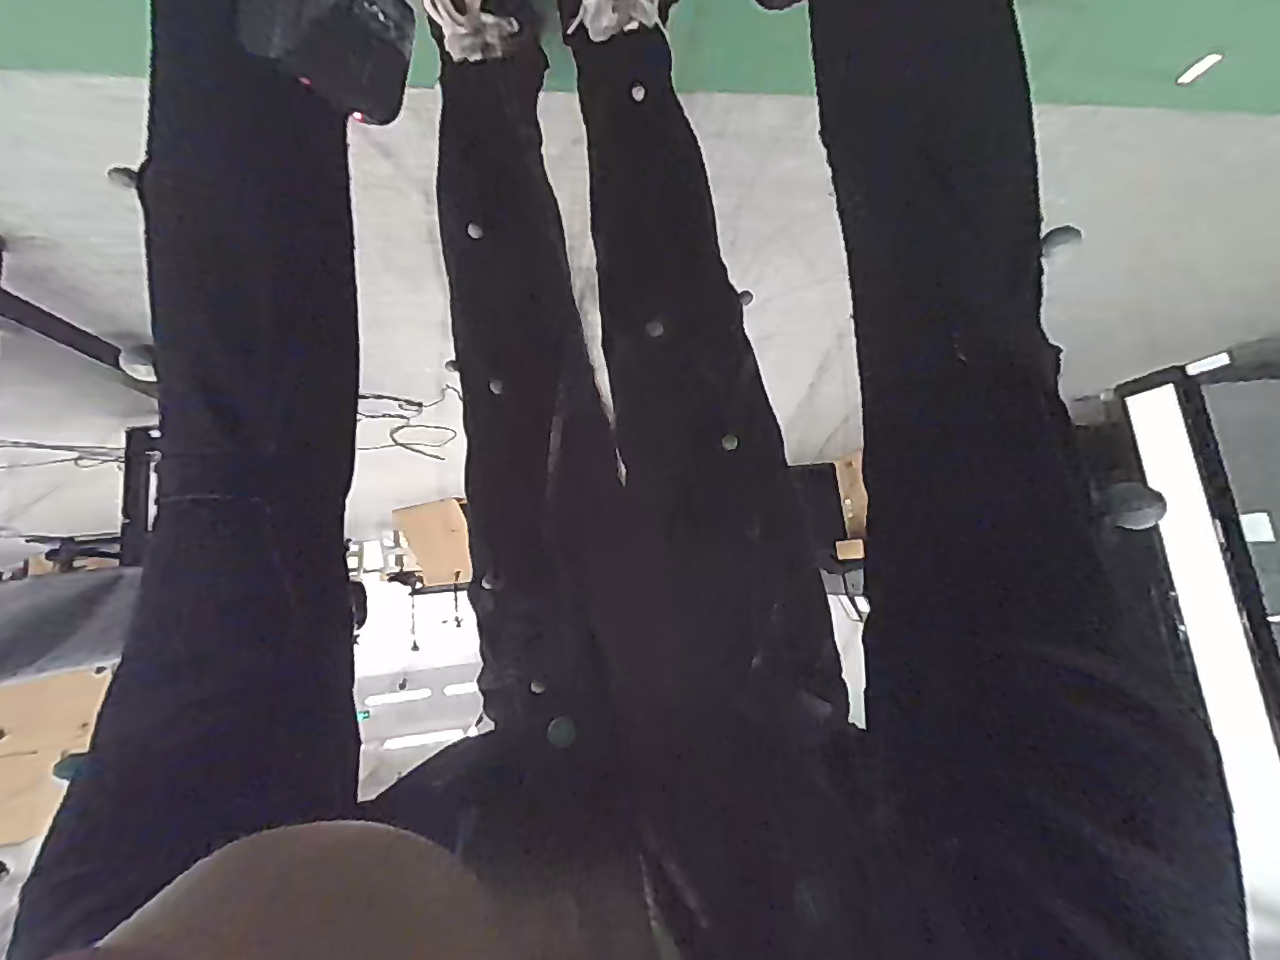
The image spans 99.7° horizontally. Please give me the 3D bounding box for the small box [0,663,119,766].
[{"bbox_3d":[-1.277,0.493,1.158,0.179,0.176,0.168,-4,170,-7],"label":"small box"}]

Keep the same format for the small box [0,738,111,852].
[{"bbox_3d":[-1.275,0.657,1.141,0.179,0.176,0.168,-6,171,-6],"label":"small box"}]
